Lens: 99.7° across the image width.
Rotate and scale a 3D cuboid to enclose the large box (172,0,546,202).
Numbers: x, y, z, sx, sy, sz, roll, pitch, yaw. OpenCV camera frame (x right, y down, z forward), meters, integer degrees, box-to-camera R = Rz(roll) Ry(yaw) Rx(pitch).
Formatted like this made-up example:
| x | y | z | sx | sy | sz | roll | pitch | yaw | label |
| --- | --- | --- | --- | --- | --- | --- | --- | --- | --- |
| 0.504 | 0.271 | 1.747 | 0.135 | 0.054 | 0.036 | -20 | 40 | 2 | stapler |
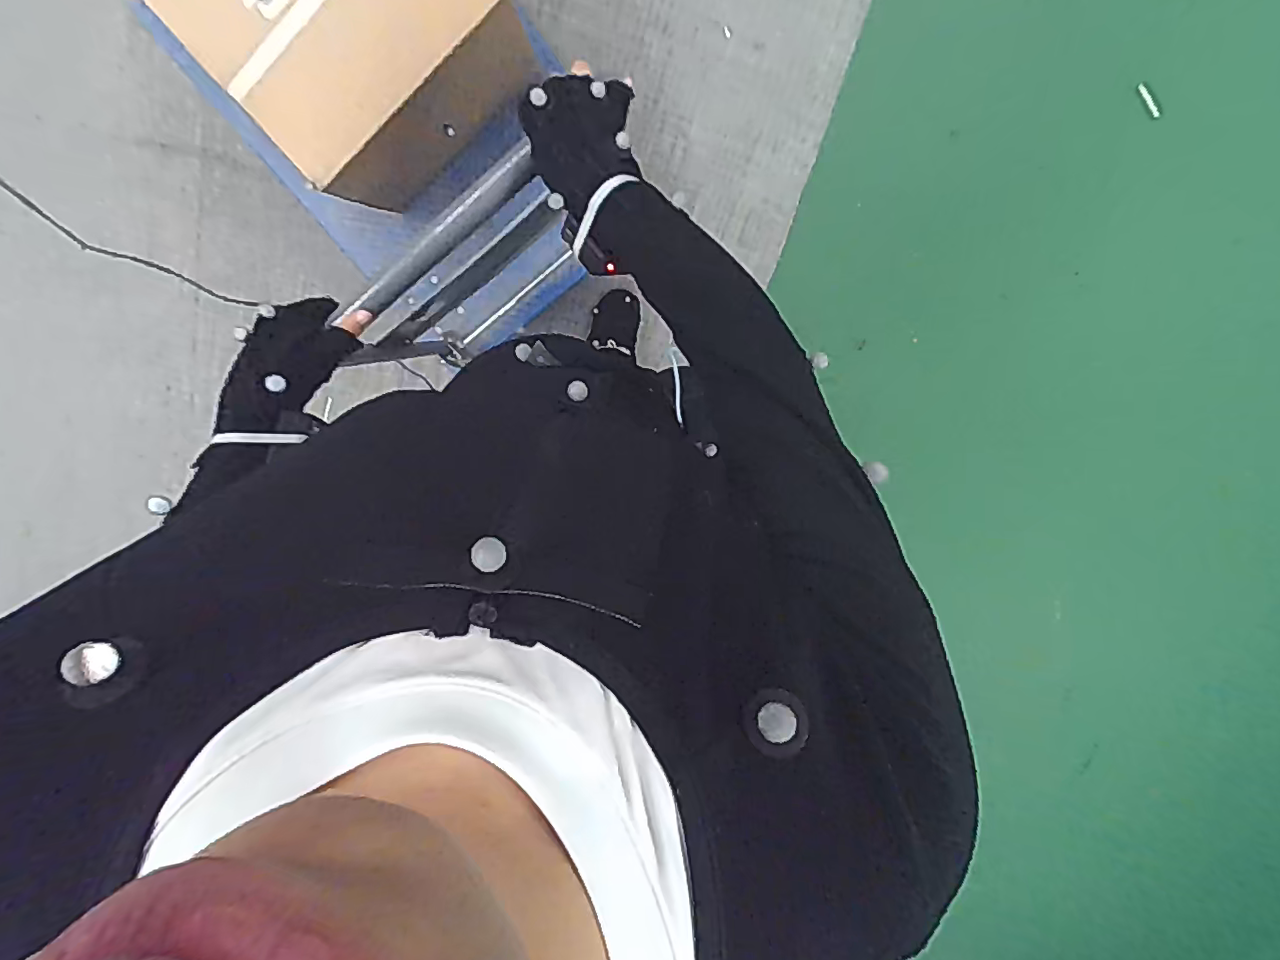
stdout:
| x | y | z | sx | sy | sz | roll | pitch | yaw | label |
| --- | --- | --- | --- | --- | --- | --- | --- | --- | --- |
| -0.420 | -0.746 | 0.903 | 0.408 | 0.320 | 0.320 | -37 | 106 | 13 | large box |
